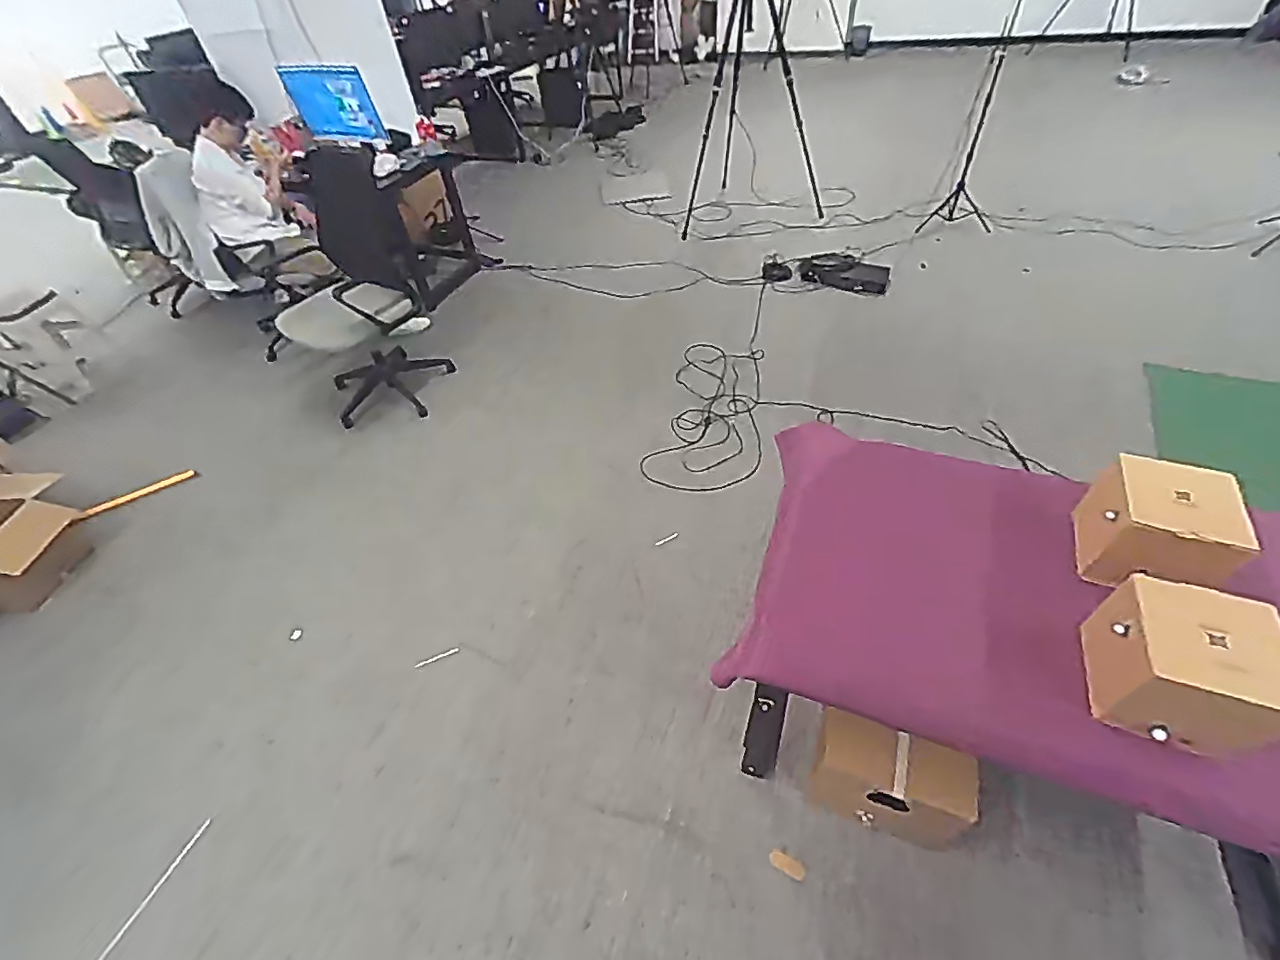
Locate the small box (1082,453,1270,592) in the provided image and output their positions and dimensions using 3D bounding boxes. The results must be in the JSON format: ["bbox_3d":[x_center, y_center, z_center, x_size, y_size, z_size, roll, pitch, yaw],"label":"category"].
[{"bbox_3d":[0.907,0.085,0.940,0.168,0.176,0.179,15,51,20],"label":"small box"}]

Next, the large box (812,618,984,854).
[{"bbox_3d":[0.638,0.637,1.365,0.320,0.320,0.408,14,49,18],"label":"large box"}]

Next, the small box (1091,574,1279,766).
[{"bbox_3d":[0.788,0.271,0.776,0.168,0.176,0.179,14,49,21],"label":"small box"}]
